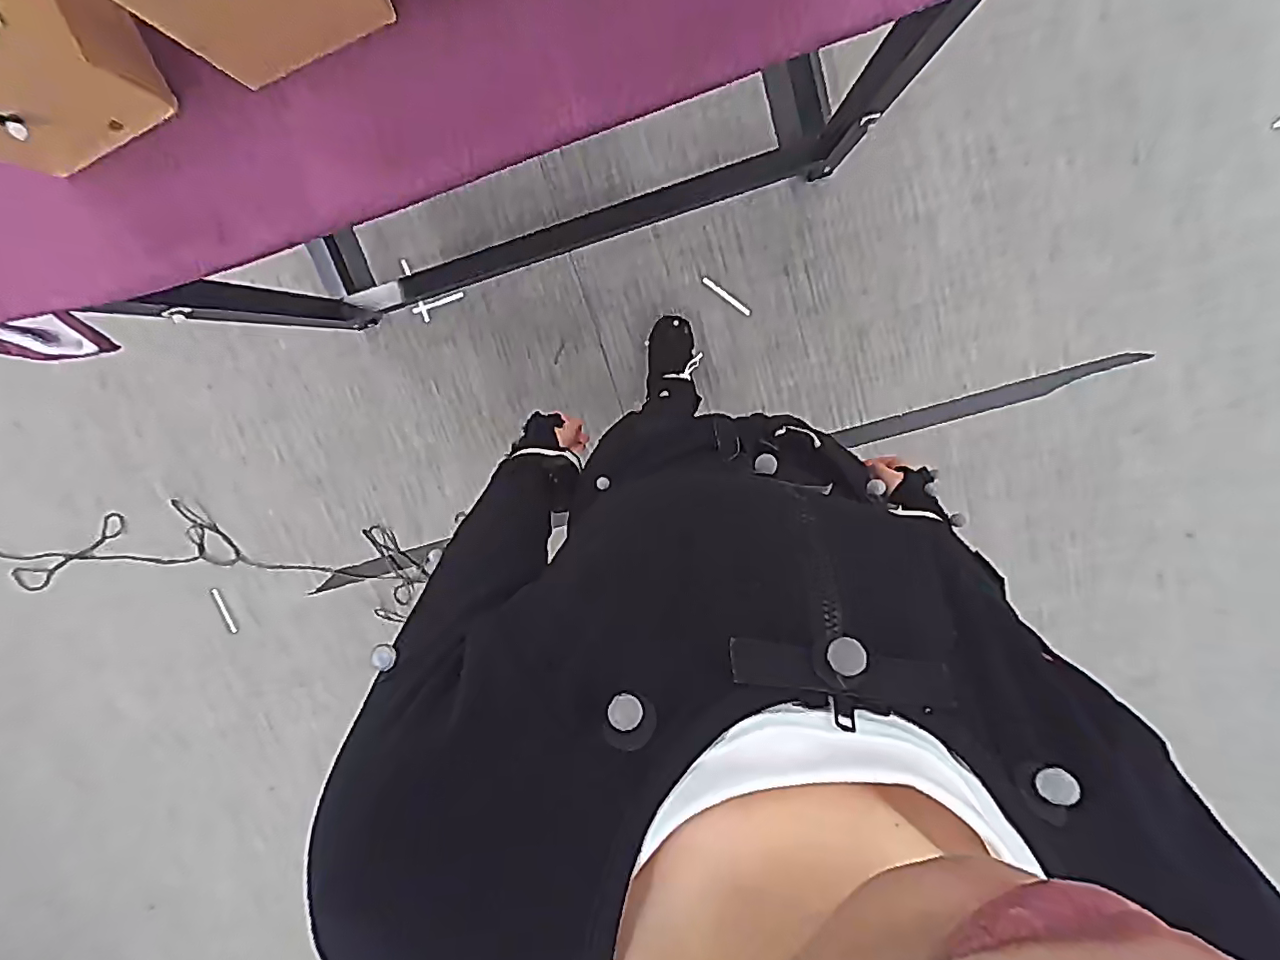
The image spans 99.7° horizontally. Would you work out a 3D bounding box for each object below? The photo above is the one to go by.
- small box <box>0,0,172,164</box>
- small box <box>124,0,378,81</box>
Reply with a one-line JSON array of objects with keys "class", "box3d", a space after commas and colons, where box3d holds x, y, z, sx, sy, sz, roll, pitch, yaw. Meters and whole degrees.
[{"class": "small box", "box3d": [-0.602, -0.424, 0.497, 0.168, 0.176, 0.179, -23, 100, 8]}, {"class": "small box", "box3d": [-0.358, -0.498, 0.466, 0.179, 0.176, 0.168, -20, 100, 7]}]
